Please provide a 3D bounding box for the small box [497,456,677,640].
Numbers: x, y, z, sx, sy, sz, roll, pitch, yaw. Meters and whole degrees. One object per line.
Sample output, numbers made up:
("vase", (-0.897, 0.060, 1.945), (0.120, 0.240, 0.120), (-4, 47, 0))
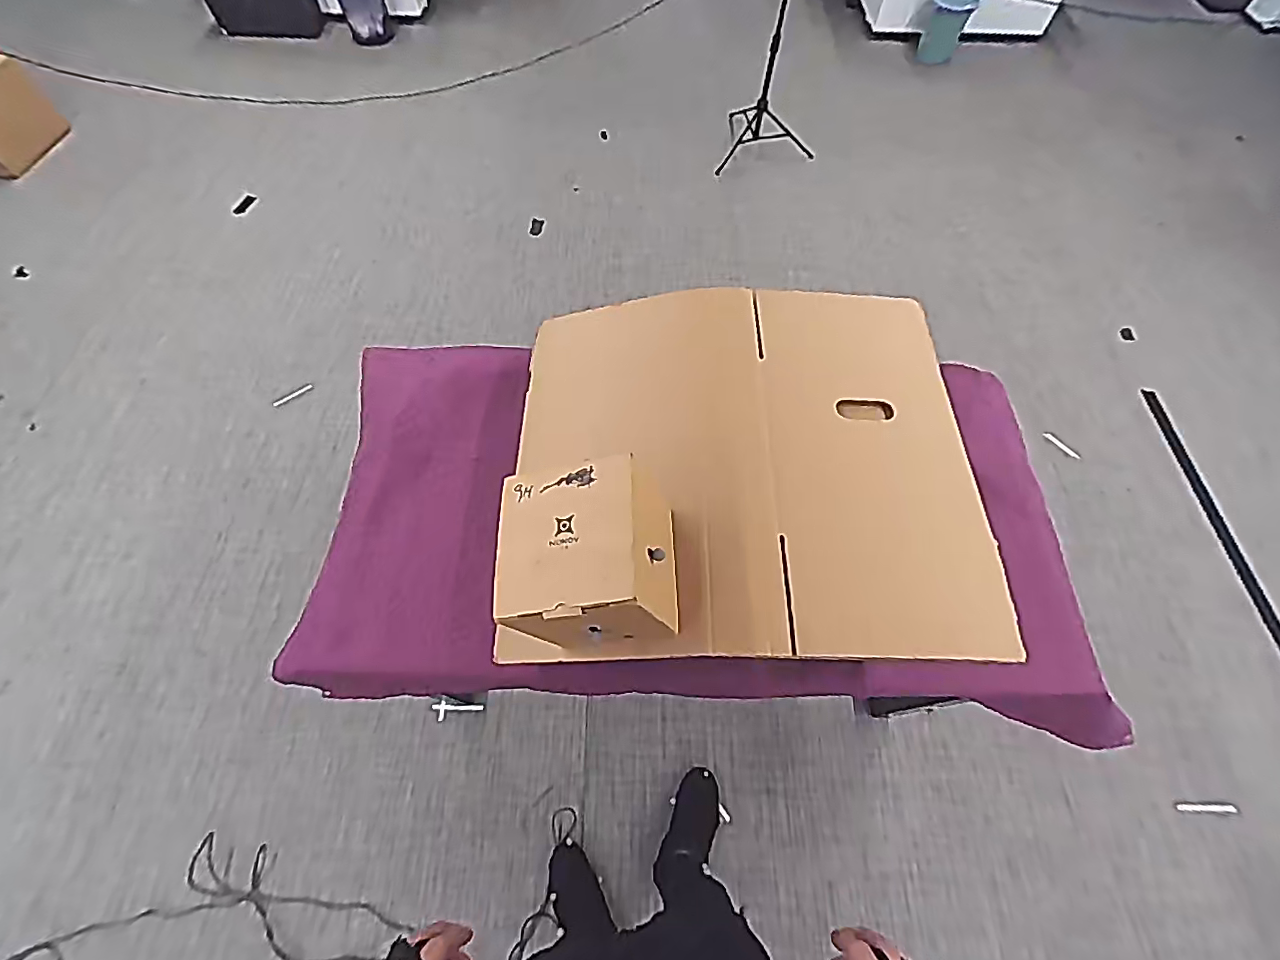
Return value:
("small box", (-0.056, 0.096, 0.669), (0.168, 0.176, 0.179), (-10, 62, 15))
